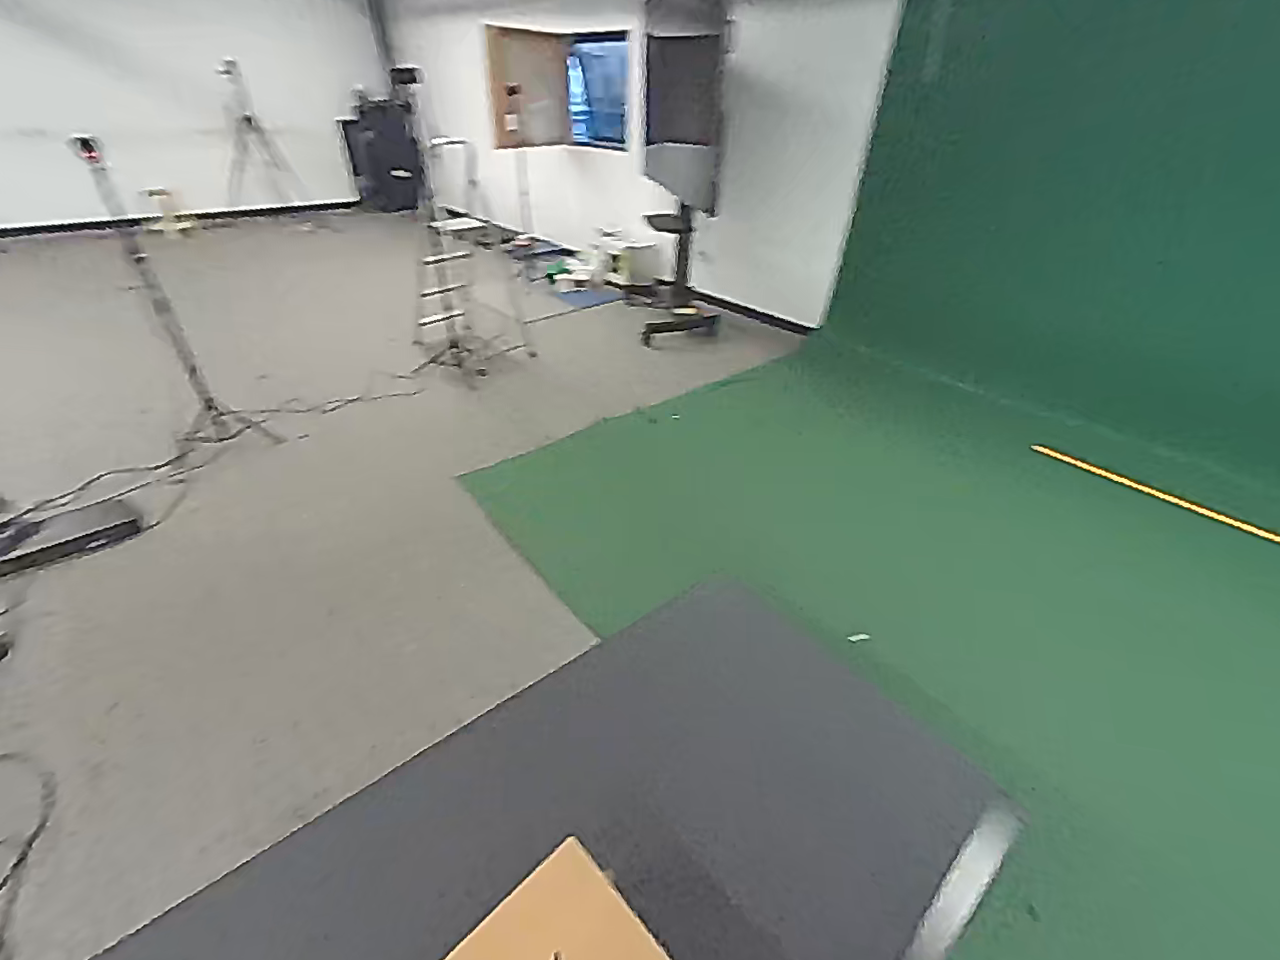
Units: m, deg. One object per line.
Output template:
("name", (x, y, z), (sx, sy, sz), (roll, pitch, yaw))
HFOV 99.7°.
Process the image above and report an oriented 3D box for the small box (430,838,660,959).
("small box", (-0.080, 0.501, 0.508), (0.168, 0.176, 0.179), (-28, 44, -36))
